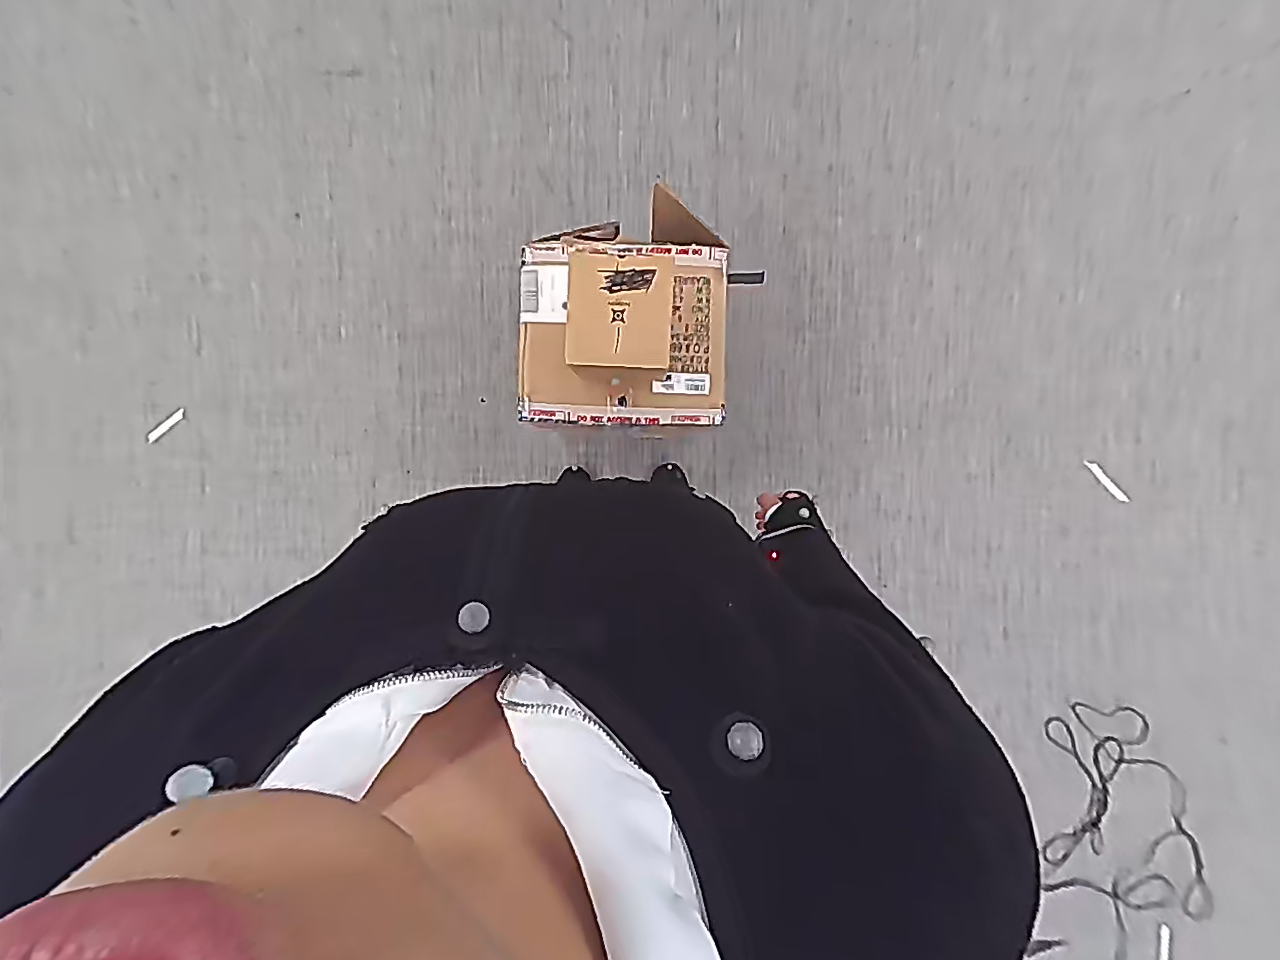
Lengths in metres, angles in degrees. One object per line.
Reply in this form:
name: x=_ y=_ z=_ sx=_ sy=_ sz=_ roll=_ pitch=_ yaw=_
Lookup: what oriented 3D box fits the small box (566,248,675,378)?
small box: x=-0.032 y=-0.275 z=0.922 sx=0.168 sy=0.176 sz=0.179 roll=3 pitch=95 yaw=0
